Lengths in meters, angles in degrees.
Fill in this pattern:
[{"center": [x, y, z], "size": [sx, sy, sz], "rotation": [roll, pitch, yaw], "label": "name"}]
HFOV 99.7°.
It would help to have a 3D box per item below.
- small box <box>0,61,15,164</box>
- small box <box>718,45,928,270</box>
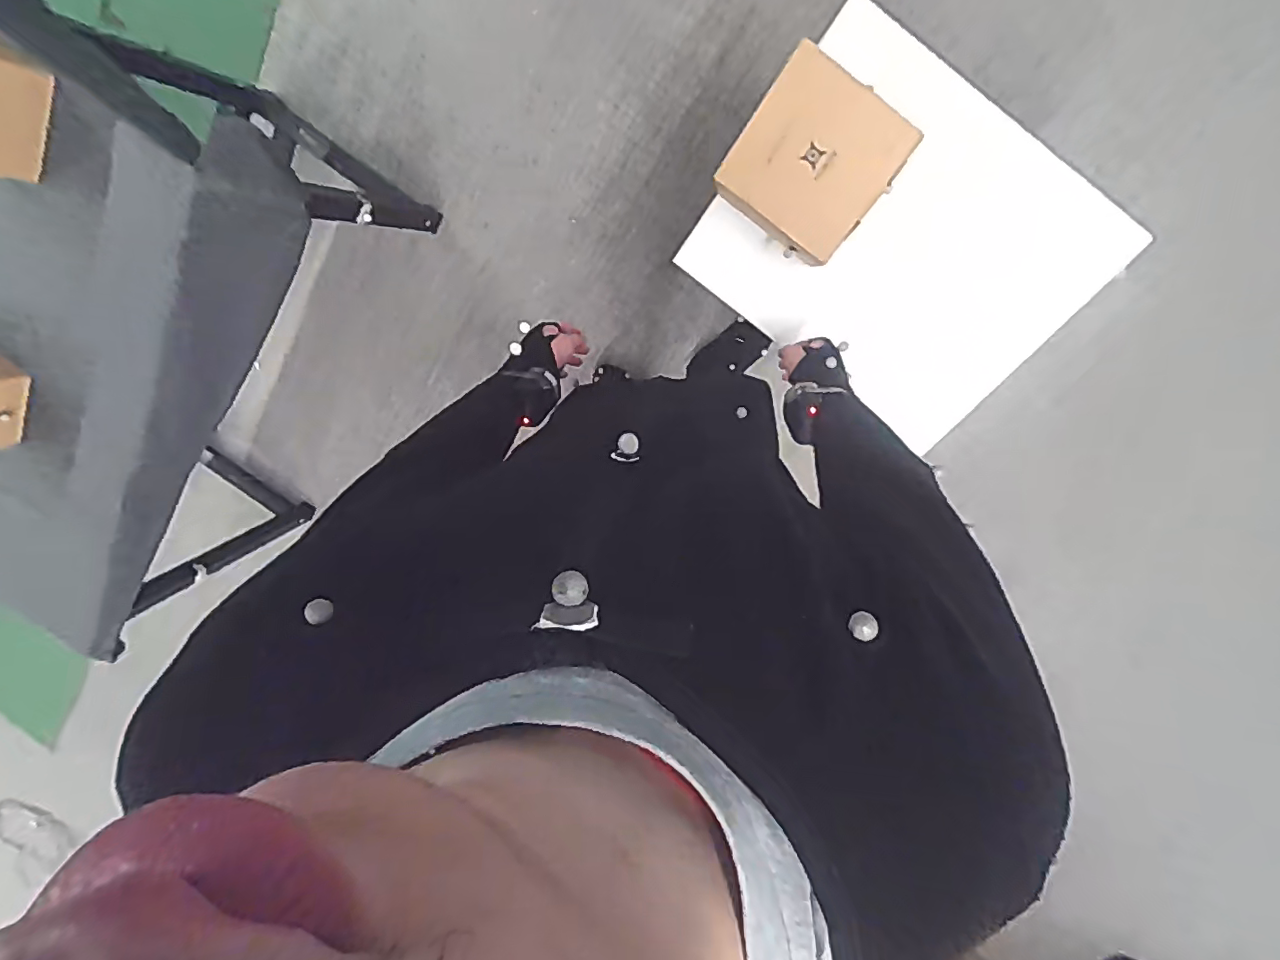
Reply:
[{"center": [-1.001, -0.530, 0.712], "size": [0.168, 0.176, 0.179], "rotation": [38, 111, -5], "label": "small box"}, {"center": [0.218, -0.390, 0.692], "size": [0.179, 0.176, 0.168], "rotation": [35, 110, -3], "label": "small box"}]
